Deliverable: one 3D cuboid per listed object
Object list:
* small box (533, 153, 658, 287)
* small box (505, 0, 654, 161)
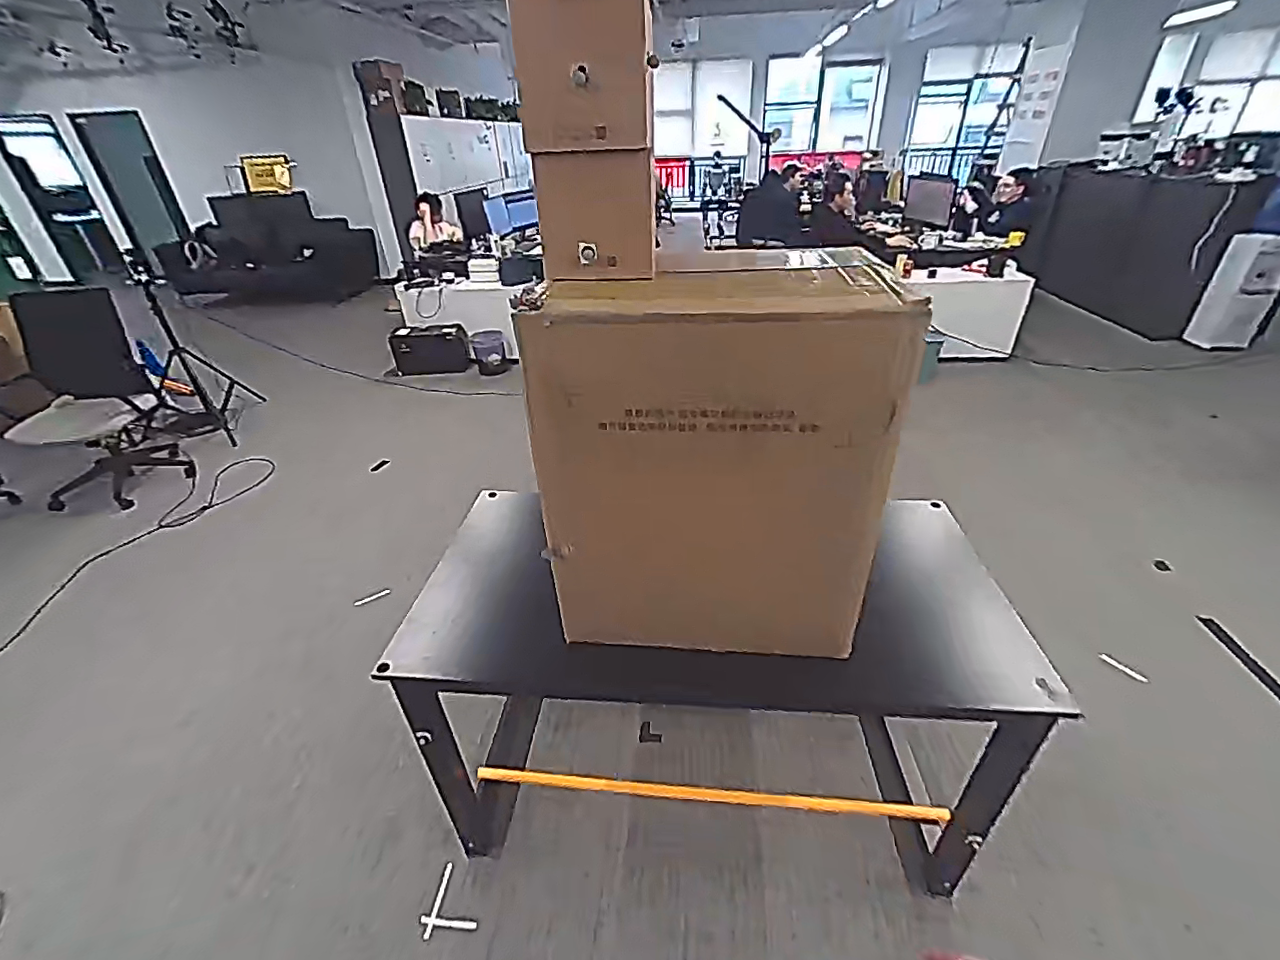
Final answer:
[{"bbox_3d":[-0.058,-0.405,0.838,0.168,0.176,0.179,-1,32,3],"label":"small box"},{"bbox_3d":[-0.069,-0.536,0.739,0.168,0.176,0.179,0,32,4],"label":"small box"}]
